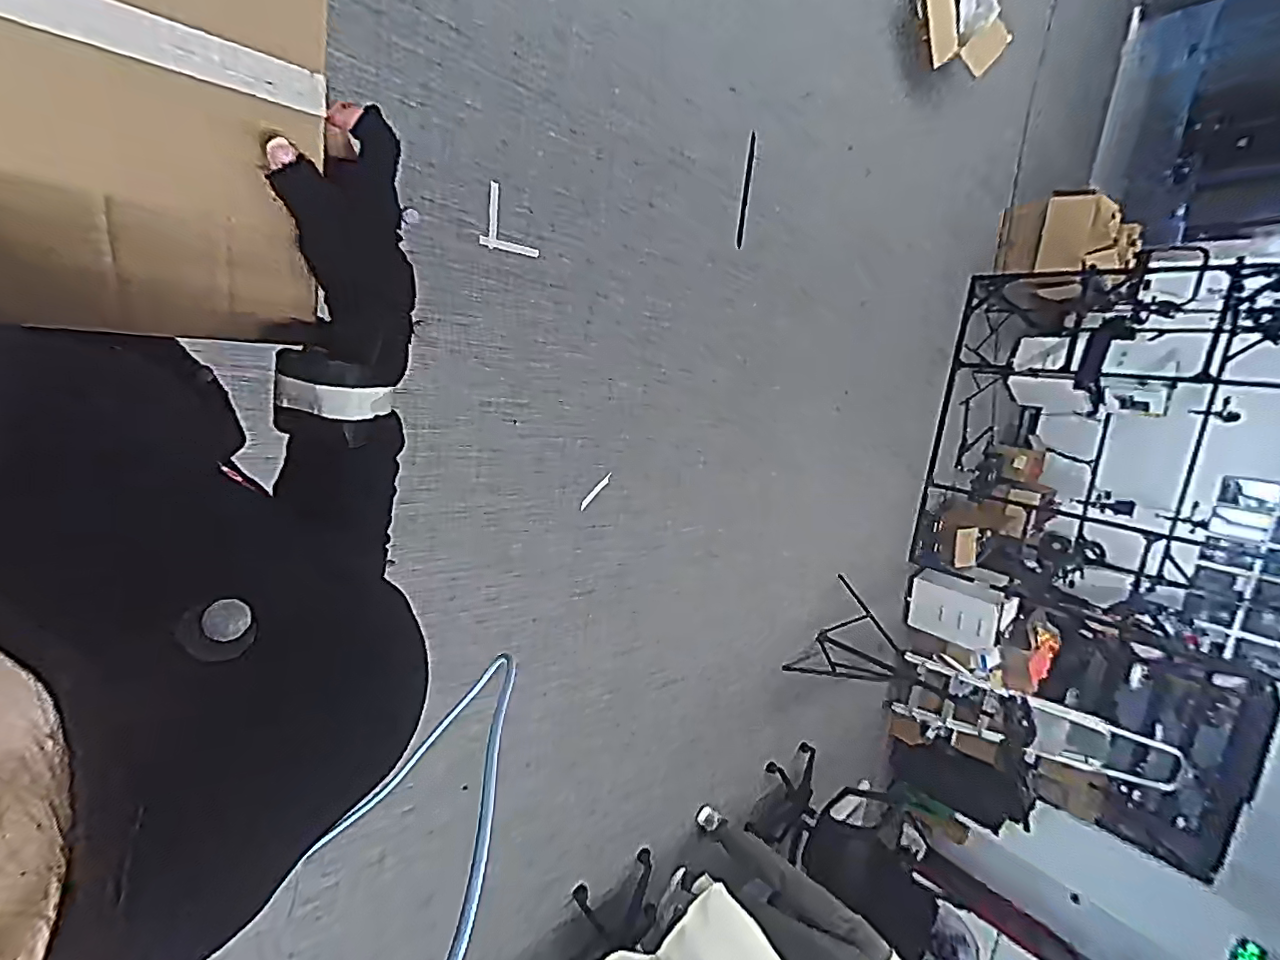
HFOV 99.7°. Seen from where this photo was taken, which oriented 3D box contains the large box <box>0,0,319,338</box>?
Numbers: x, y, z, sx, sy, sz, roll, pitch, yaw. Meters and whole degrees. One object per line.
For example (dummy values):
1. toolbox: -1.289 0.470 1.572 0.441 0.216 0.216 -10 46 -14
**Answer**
1. large box: -0.429 -0.295 0.284 0.408 0.320 0.320 -6 131 -40
